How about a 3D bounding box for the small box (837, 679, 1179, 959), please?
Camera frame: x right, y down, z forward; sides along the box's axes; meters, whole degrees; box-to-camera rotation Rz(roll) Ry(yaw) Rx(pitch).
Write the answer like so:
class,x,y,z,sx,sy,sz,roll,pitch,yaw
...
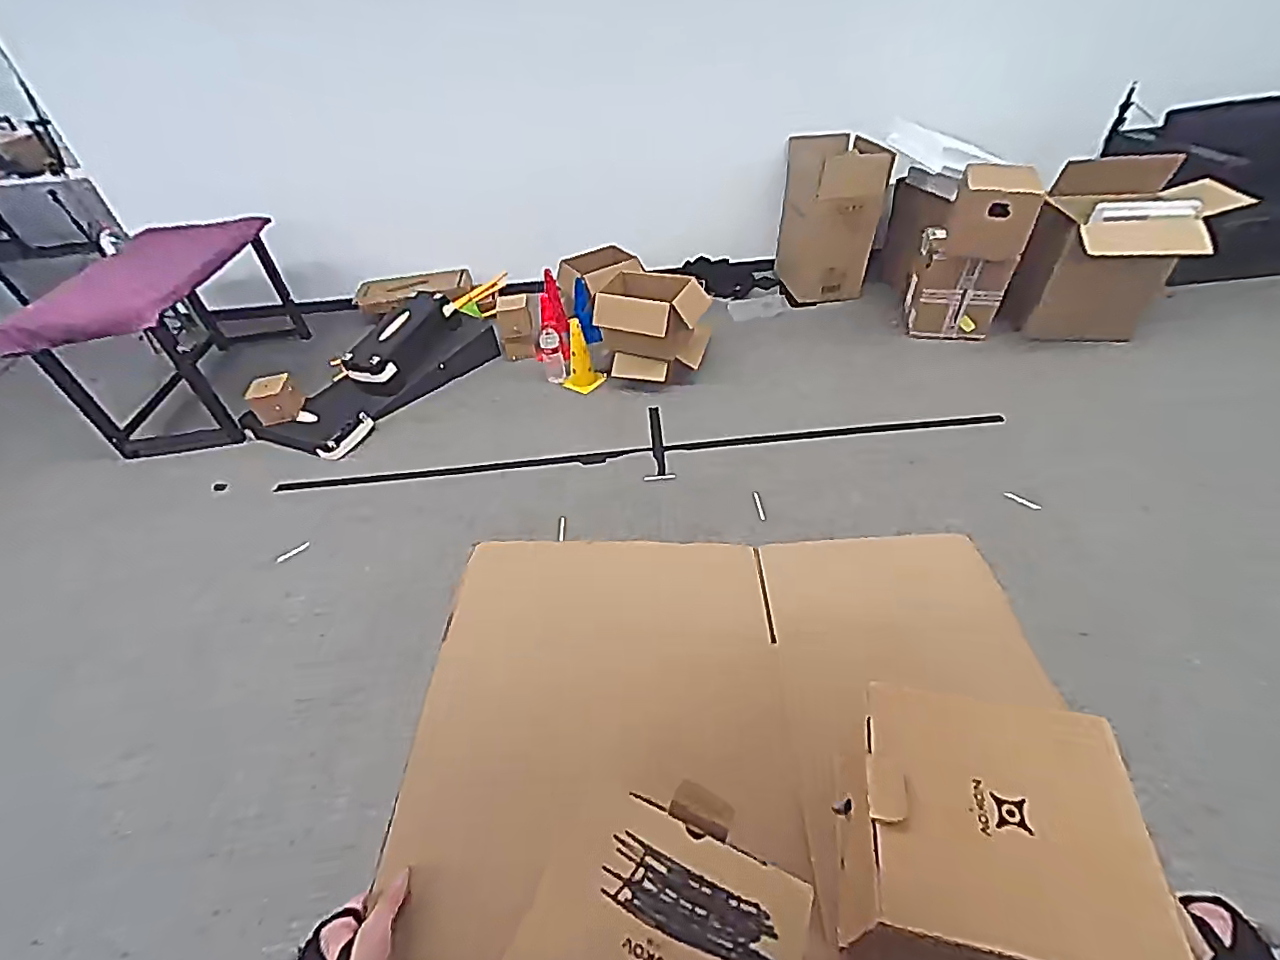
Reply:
class,x,y,z,sx,sy,sz,roll,pitch,yaw
small box,0.268,0.292,0.449,0.179,0.176,0.168,4,46,14
